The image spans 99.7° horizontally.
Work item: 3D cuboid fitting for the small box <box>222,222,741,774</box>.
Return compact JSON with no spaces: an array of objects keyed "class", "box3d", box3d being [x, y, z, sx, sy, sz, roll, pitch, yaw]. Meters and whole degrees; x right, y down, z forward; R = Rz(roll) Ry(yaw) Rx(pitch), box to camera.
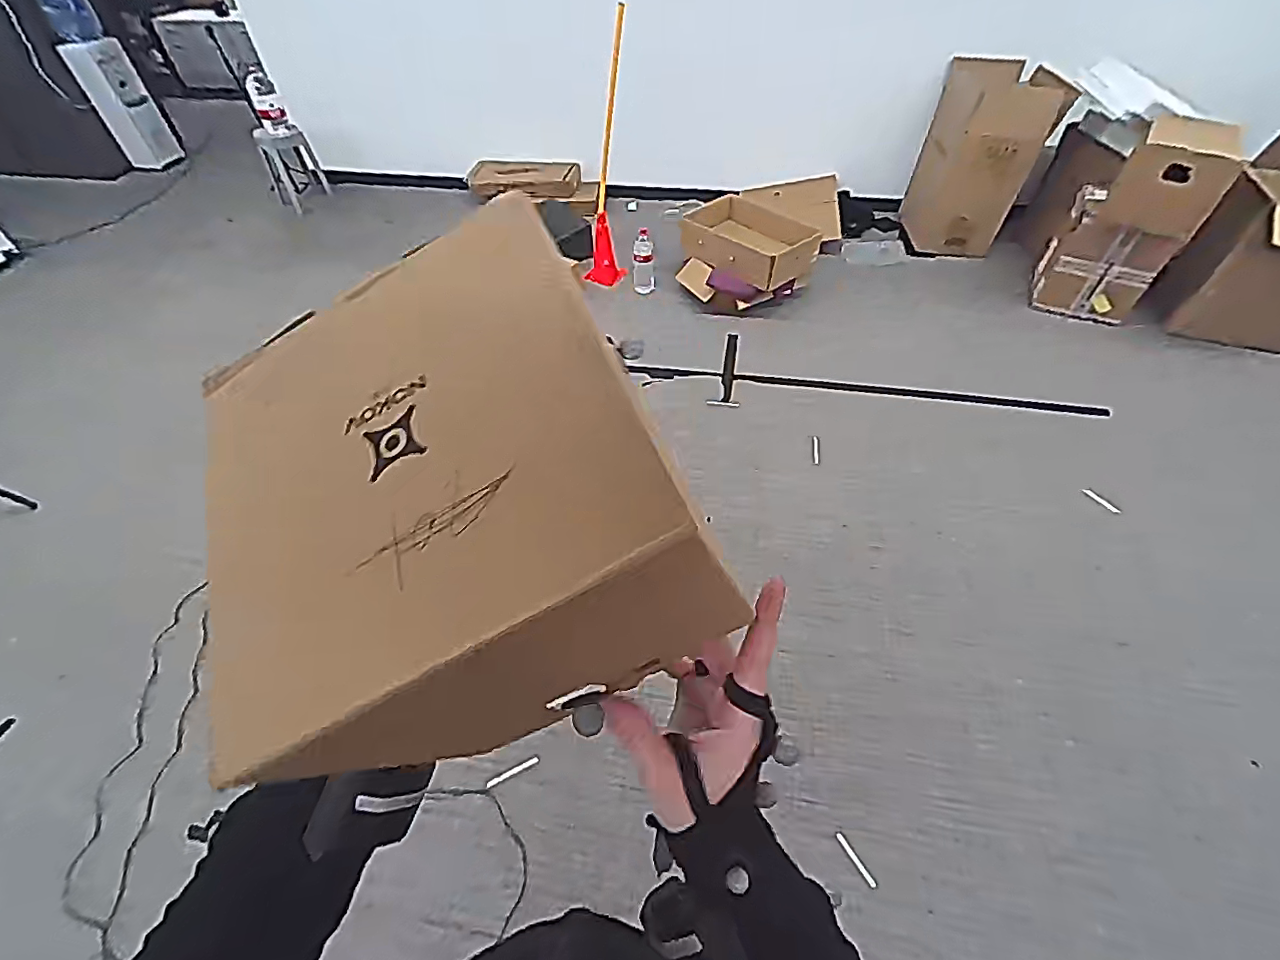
[{"class":"small box","box3d":[-0.067,0.020,0.278,0.168,0.176,0.179,-31,63,6]}]
